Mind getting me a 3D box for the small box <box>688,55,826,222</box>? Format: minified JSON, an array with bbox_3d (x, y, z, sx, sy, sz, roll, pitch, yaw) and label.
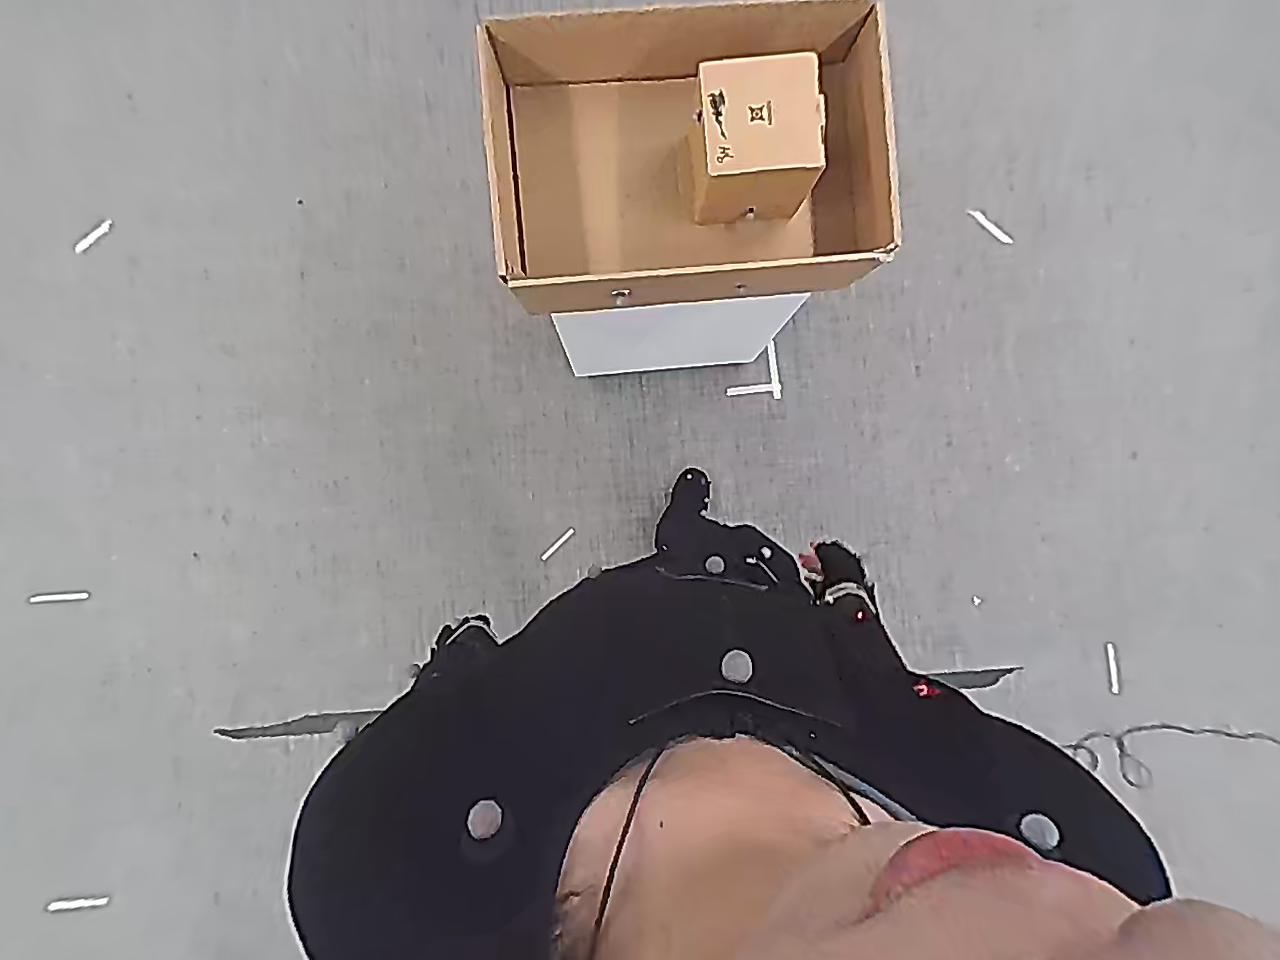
[{"bbox_3d":[0.179,-0.534,0.867,0.179,0.176,0.168,-5,92,-1],"label":"small box"}]
